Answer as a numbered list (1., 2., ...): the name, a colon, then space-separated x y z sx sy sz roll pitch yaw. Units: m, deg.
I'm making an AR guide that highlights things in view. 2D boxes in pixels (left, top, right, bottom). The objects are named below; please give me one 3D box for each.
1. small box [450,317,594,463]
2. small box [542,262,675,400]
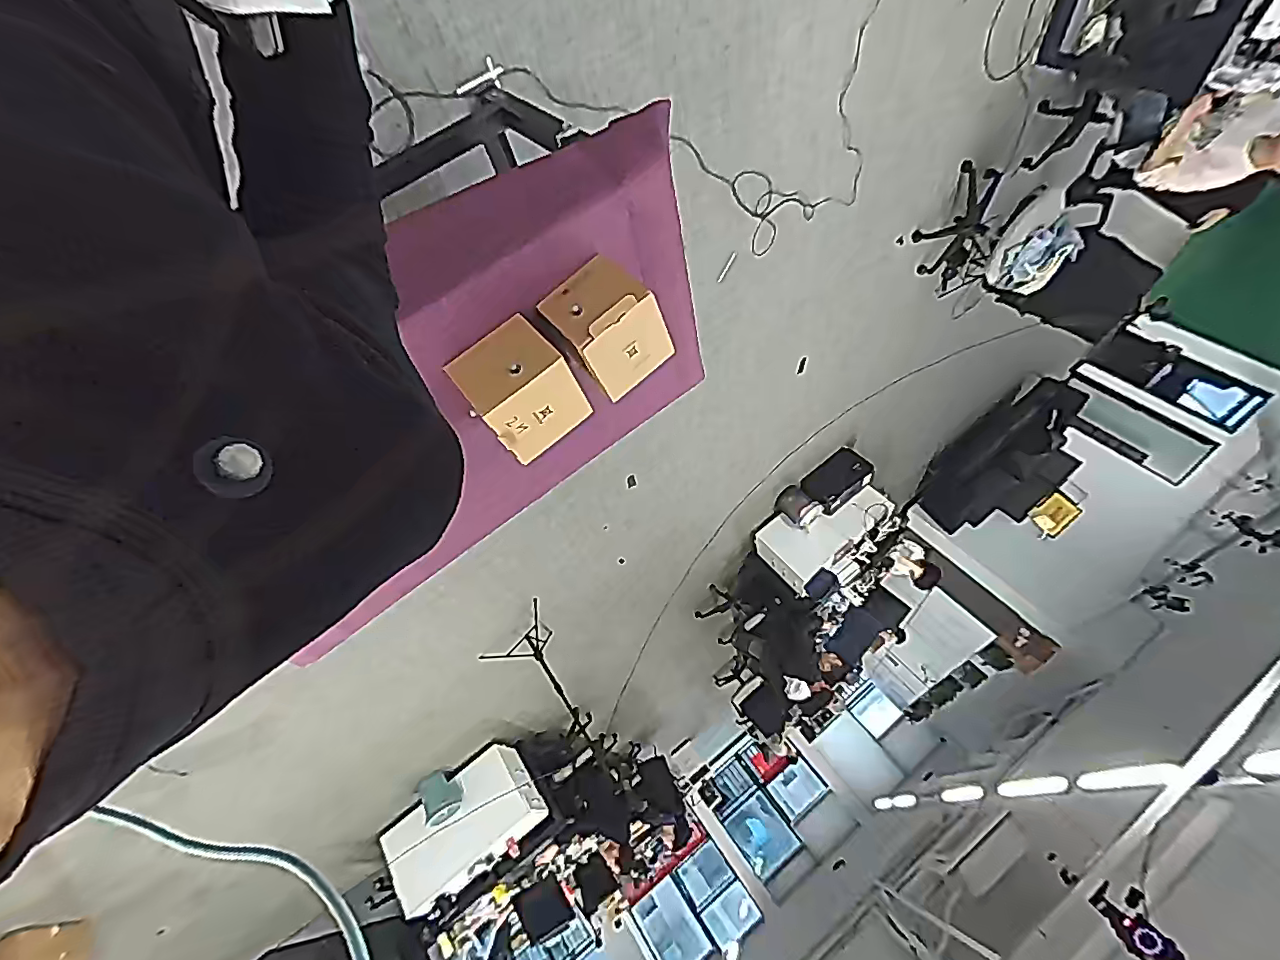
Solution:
1. small box: -0.222 -0.174 1.022 0.179 0.176 0.168 -38 148 -6
2. small box: -0.062 -0.297 1.056 0.168 0.176 0.179 -40 149 -3
